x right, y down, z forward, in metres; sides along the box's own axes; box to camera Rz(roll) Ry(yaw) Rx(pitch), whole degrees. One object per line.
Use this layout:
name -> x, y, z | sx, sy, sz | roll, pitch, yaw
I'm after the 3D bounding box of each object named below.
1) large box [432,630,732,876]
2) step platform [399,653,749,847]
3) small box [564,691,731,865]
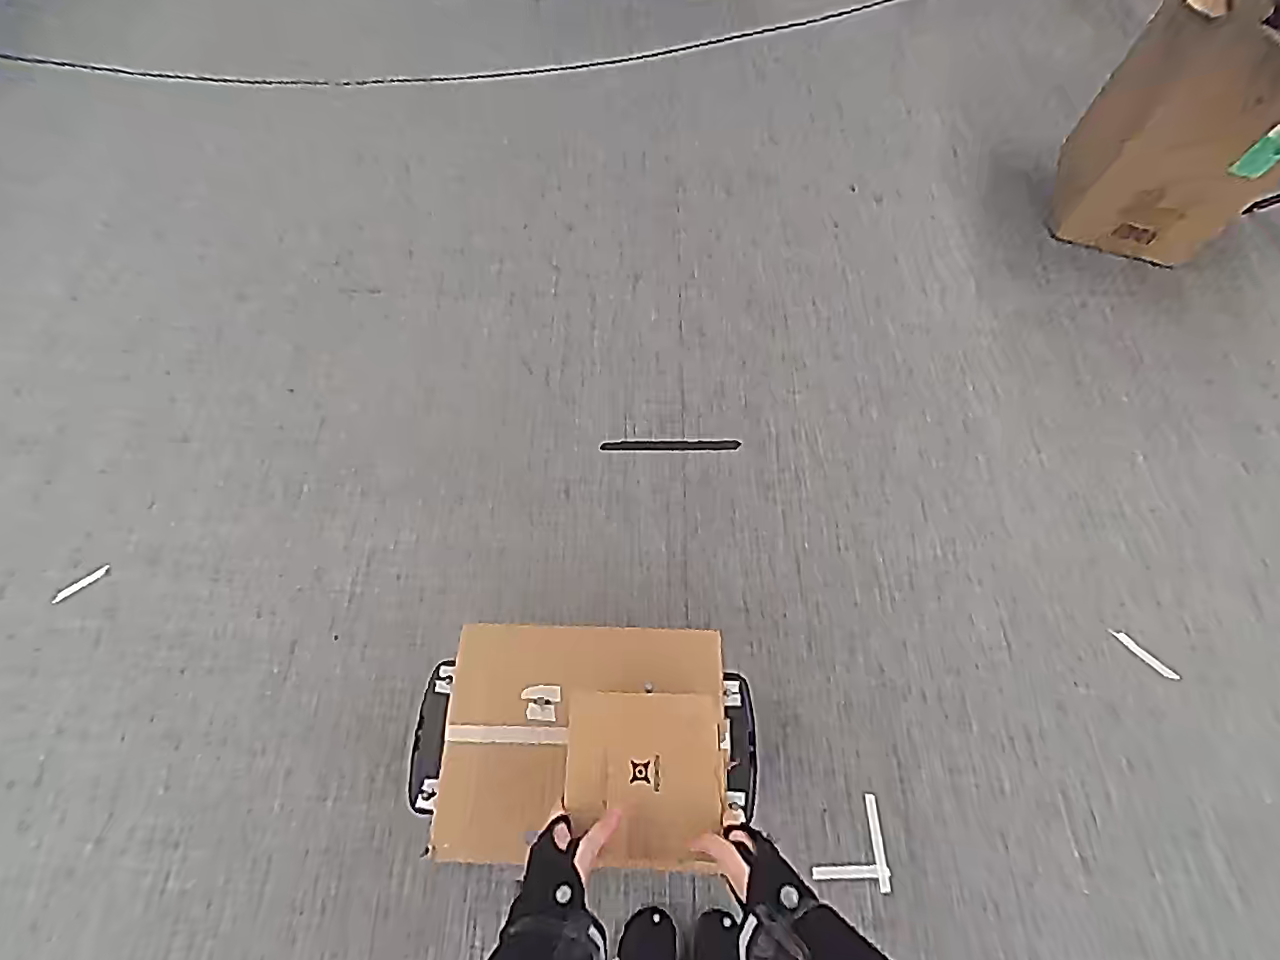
large box -> -0.070, 0.432, 0.903 | 0.408, 0.320, 0.320 | 0, 65, 2
step platform -> -0.122, 0.546, 1.114 | 0.684, 0.204, 0.286 | 6, 66, 4
small box -> 0.011, 0.354, 0.665 | 0.179, 0.176, 0.168 | 1, 64, 2
